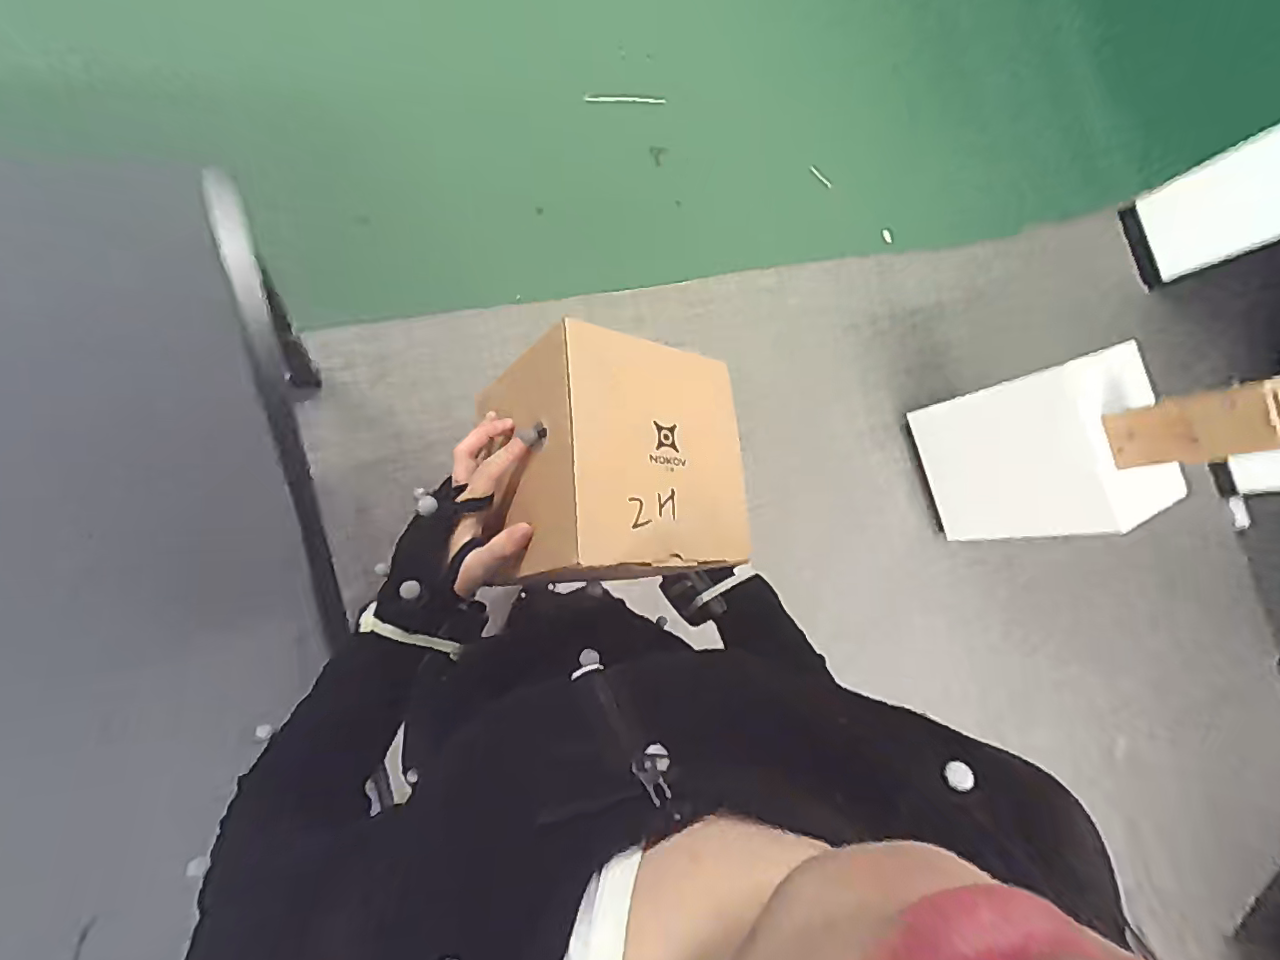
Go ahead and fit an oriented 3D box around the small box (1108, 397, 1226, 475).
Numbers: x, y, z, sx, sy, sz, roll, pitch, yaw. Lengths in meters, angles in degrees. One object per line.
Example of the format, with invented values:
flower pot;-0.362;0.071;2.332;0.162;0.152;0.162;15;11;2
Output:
small box;1.462;-0.120;1.506;0.179;0.176;0.168;-14;85;-25

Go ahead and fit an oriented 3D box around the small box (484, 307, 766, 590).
small box;-0.022;-0.006;0.451;0.168;0.176;0.179;7;71;-36
